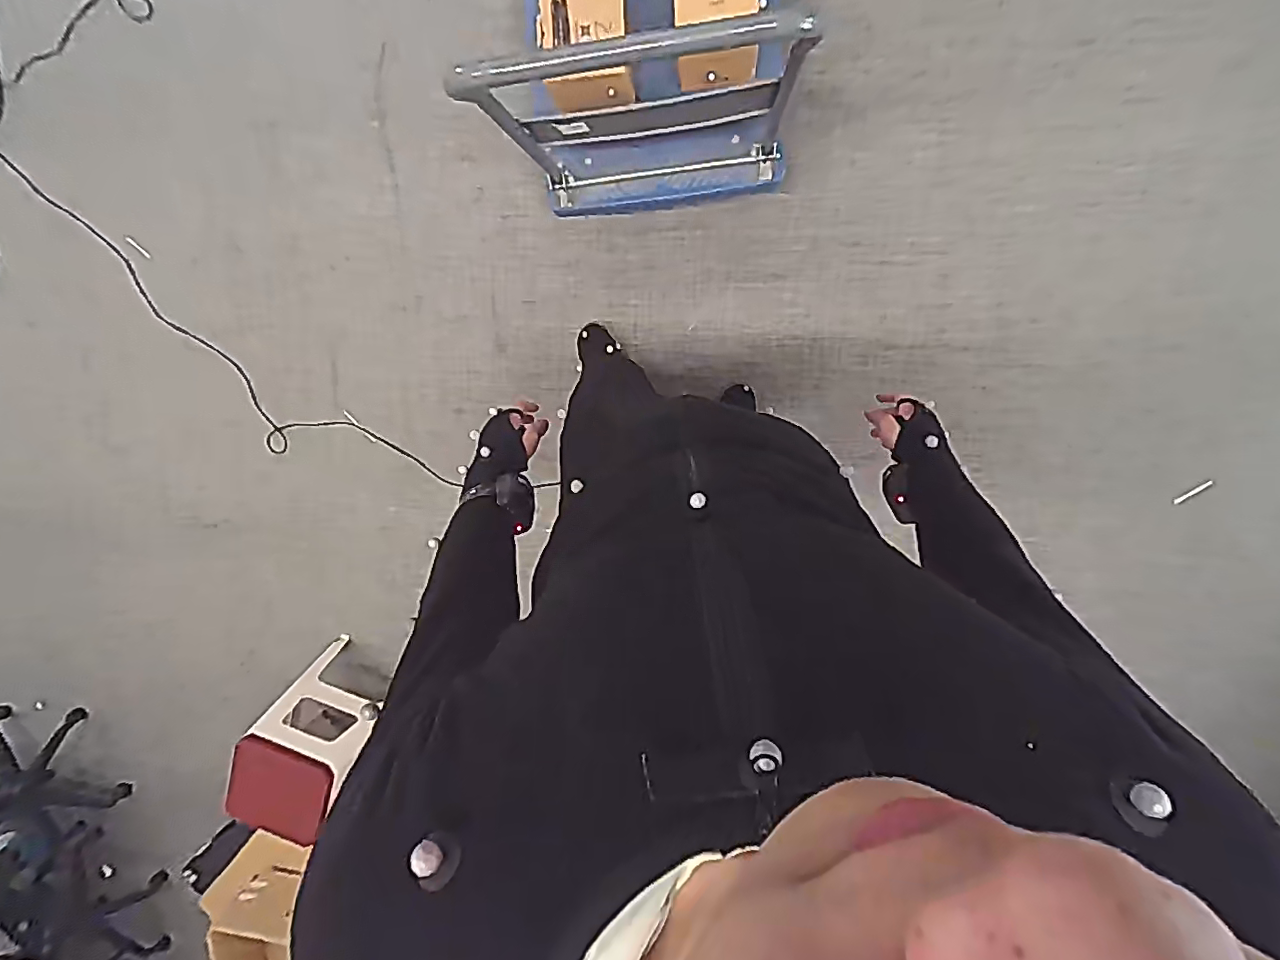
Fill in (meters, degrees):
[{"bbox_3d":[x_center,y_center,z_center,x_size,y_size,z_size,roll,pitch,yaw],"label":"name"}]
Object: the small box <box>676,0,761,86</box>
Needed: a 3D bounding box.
[{"bbox_3d":[0.160,-0.966,1.124,0.168,0.176,0.179,-2,104,8],"label":"small box"}]
